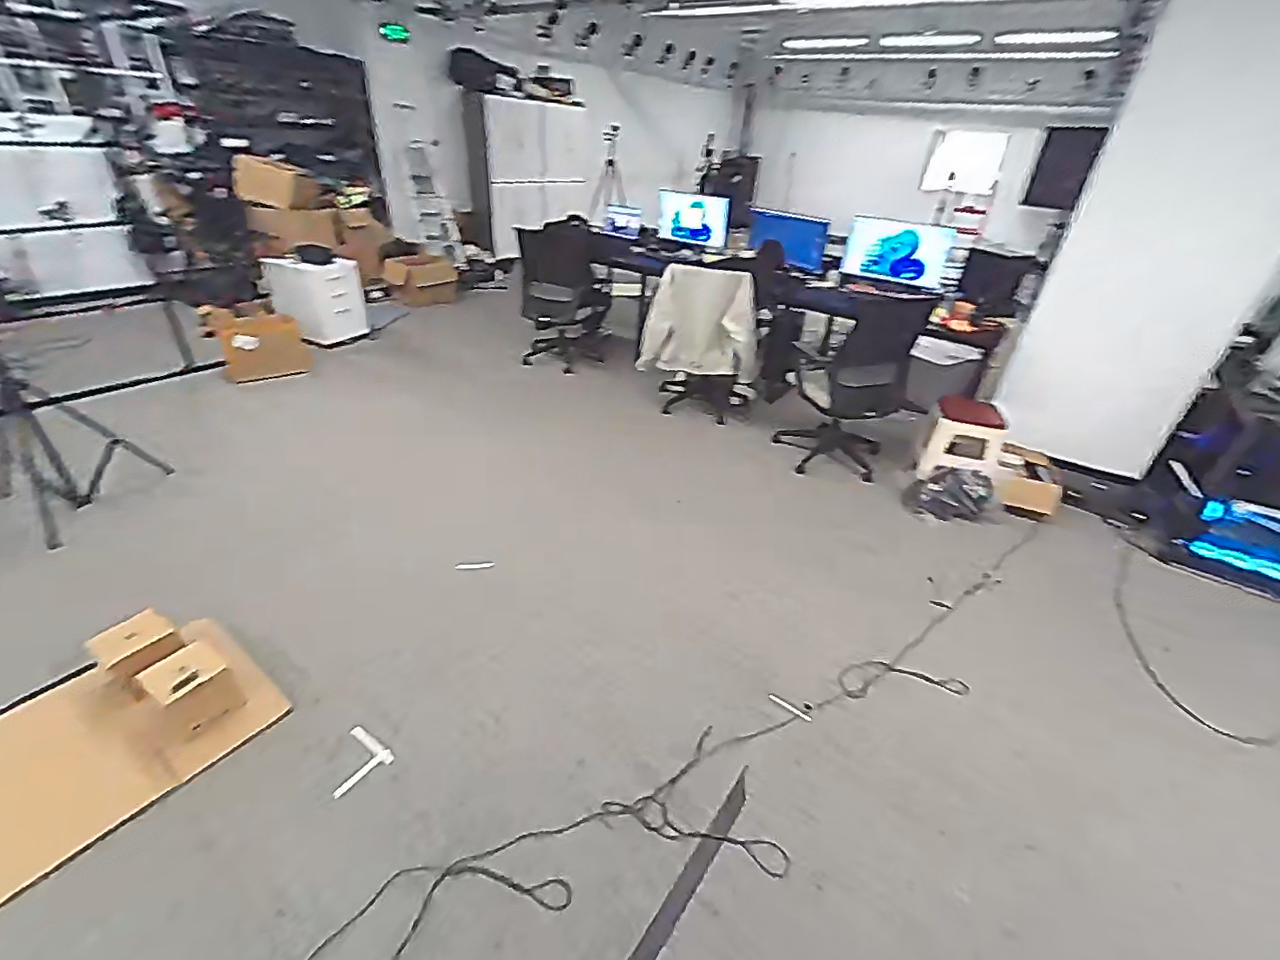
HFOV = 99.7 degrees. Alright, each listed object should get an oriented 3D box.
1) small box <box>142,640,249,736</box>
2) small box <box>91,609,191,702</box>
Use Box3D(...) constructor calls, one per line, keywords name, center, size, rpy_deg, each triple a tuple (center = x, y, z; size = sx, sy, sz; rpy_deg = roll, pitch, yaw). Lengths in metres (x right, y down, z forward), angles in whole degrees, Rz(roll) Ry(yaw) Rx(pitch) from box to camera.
Box3D(name="small box", center=(-1.294, 0.614, 1.585), size=(0.179, 0.176, 0.168), rpy_deg=(21, 36, 26))
Box3D(name="small box", center=(-1.526, 0.543, 1.678), size=(0.168, 0.176, 0.179), rpy_deg=(19, 36, 25))
